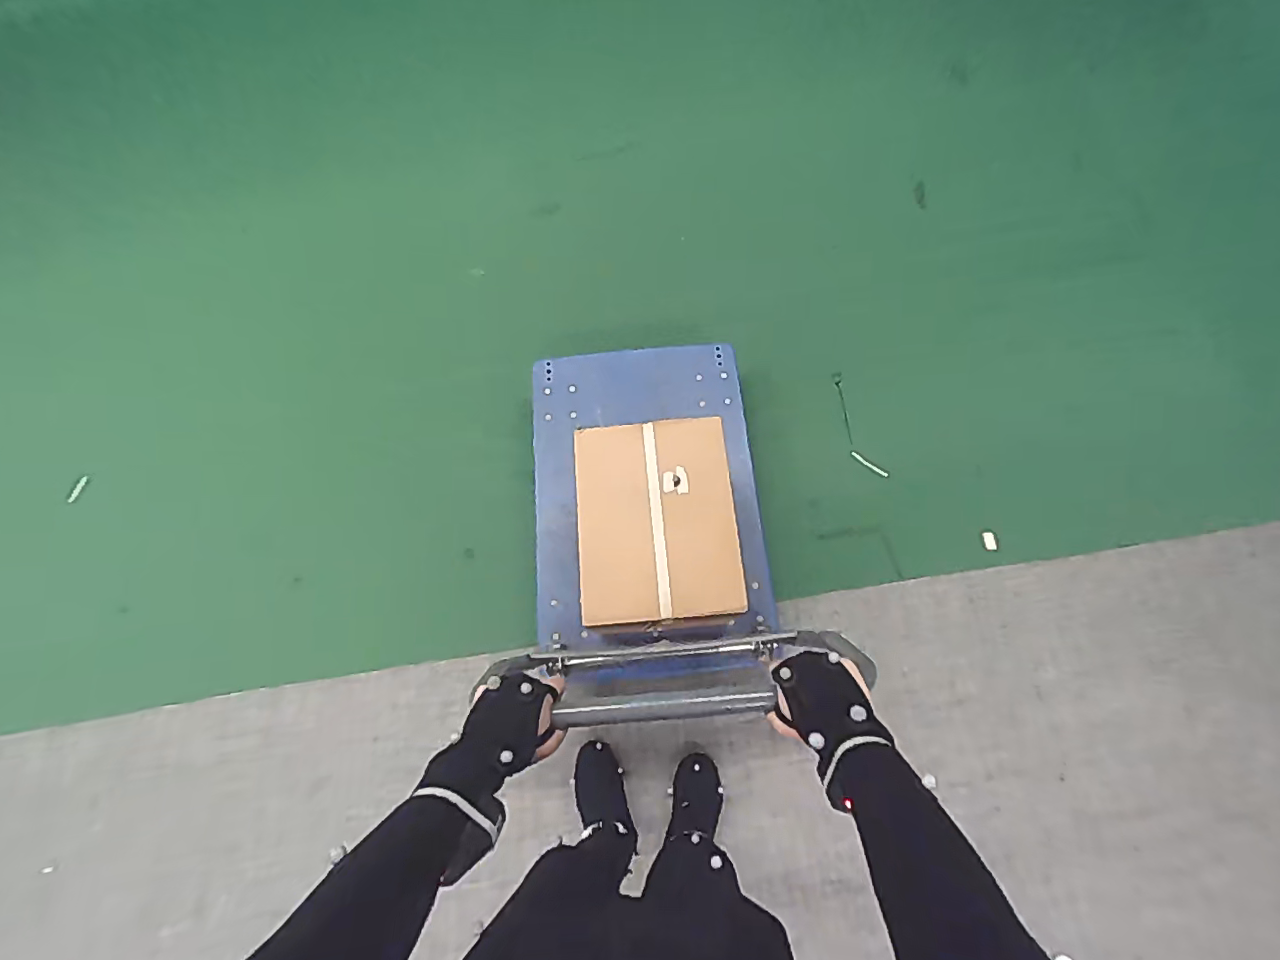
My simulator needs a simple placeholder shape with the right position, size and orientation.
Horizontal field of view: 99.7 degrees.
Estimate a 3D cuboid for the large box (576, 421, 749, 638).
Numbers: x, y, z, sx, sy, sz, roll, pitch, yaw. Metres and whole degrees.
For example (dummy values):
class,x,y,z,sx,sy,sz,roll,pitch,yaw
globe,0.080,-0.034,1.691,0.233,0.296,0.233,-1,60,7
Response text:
class,x,y,z,sx,sy,sz,roll,pitch,yaw
large box,0.041,0.125,1.212,0.320,0.320,0.408,-5,70,0
